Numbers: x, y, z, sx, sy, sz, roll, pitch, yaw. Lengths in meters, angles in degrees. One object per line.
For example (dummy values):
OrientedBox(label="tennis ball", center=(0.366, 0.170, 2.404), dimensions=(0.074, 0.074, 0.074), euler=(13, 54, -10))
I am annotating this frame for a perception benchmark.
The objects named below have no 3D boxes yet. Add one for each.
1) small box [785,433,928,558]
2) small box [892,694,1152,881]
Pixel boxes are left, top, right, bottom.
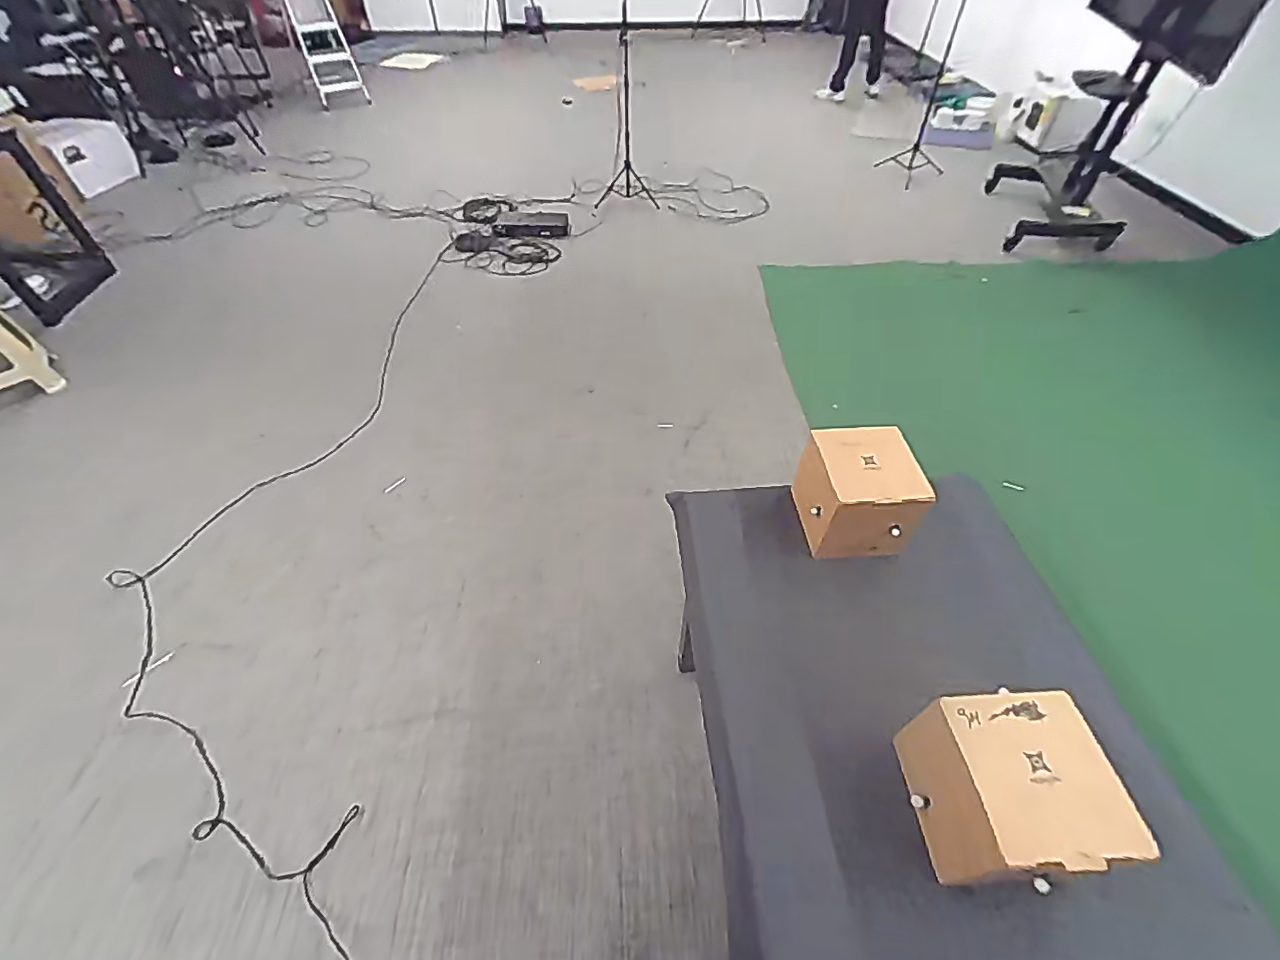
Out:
OrientedBox(label="small box", center=(0.385, 0.033, 0.996), dimensions=(0.168, 0.176, 0.179), euler=(-1, 47, -7))
OrientedBox(label="small box", center=(0.449, 0.386, 0.674), dimensions=(0.168, 0.176, 0.179), euler=(-1, 48, -4))
